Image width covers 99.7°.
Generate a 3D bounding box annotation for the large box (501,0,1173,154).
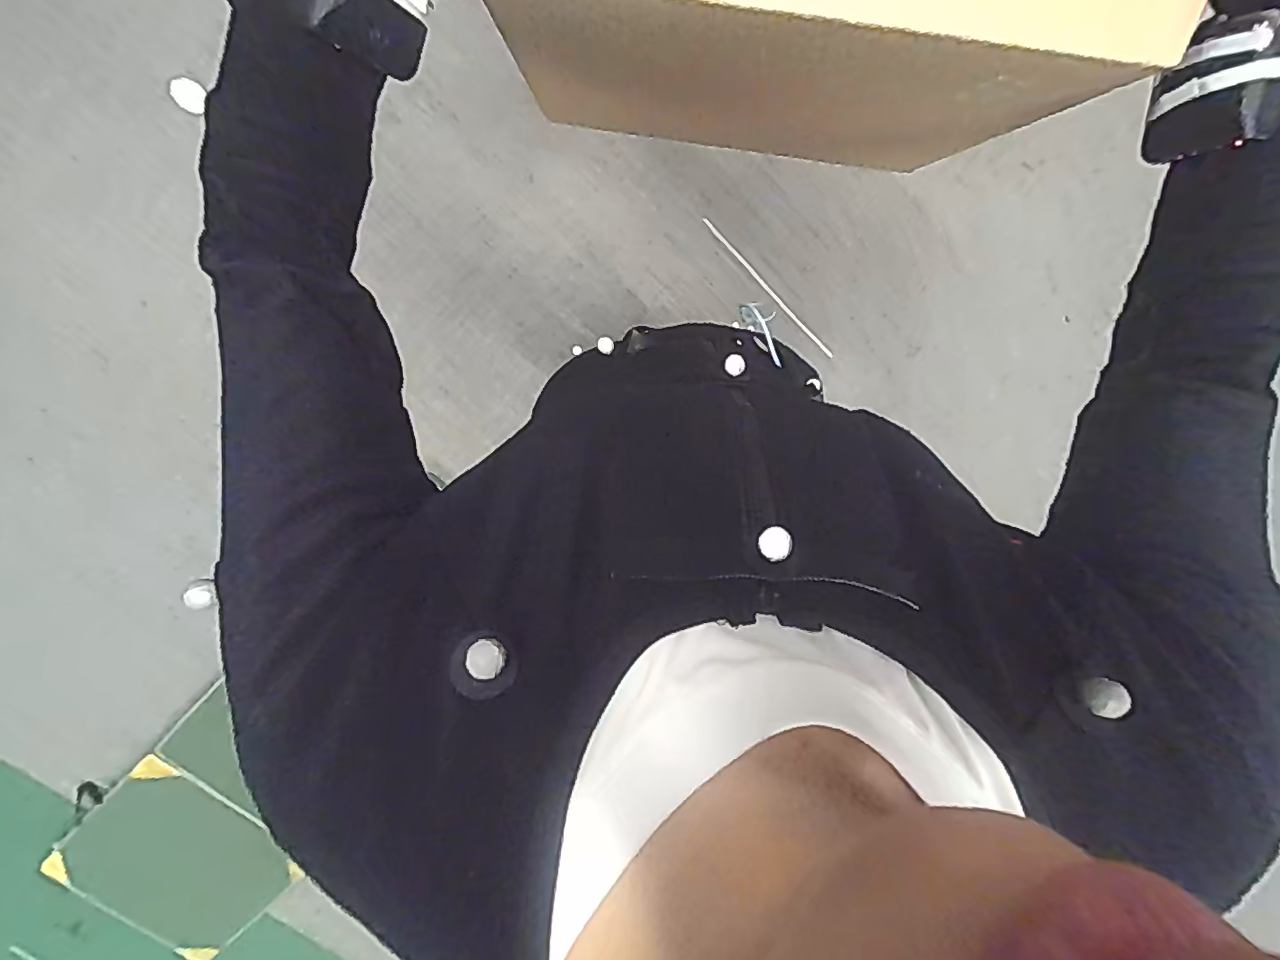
[{"bbox_3d":[0.113,-0.463,0.391,0.408,0.320,0.320,5,110,-4],"label":"large box"}]
